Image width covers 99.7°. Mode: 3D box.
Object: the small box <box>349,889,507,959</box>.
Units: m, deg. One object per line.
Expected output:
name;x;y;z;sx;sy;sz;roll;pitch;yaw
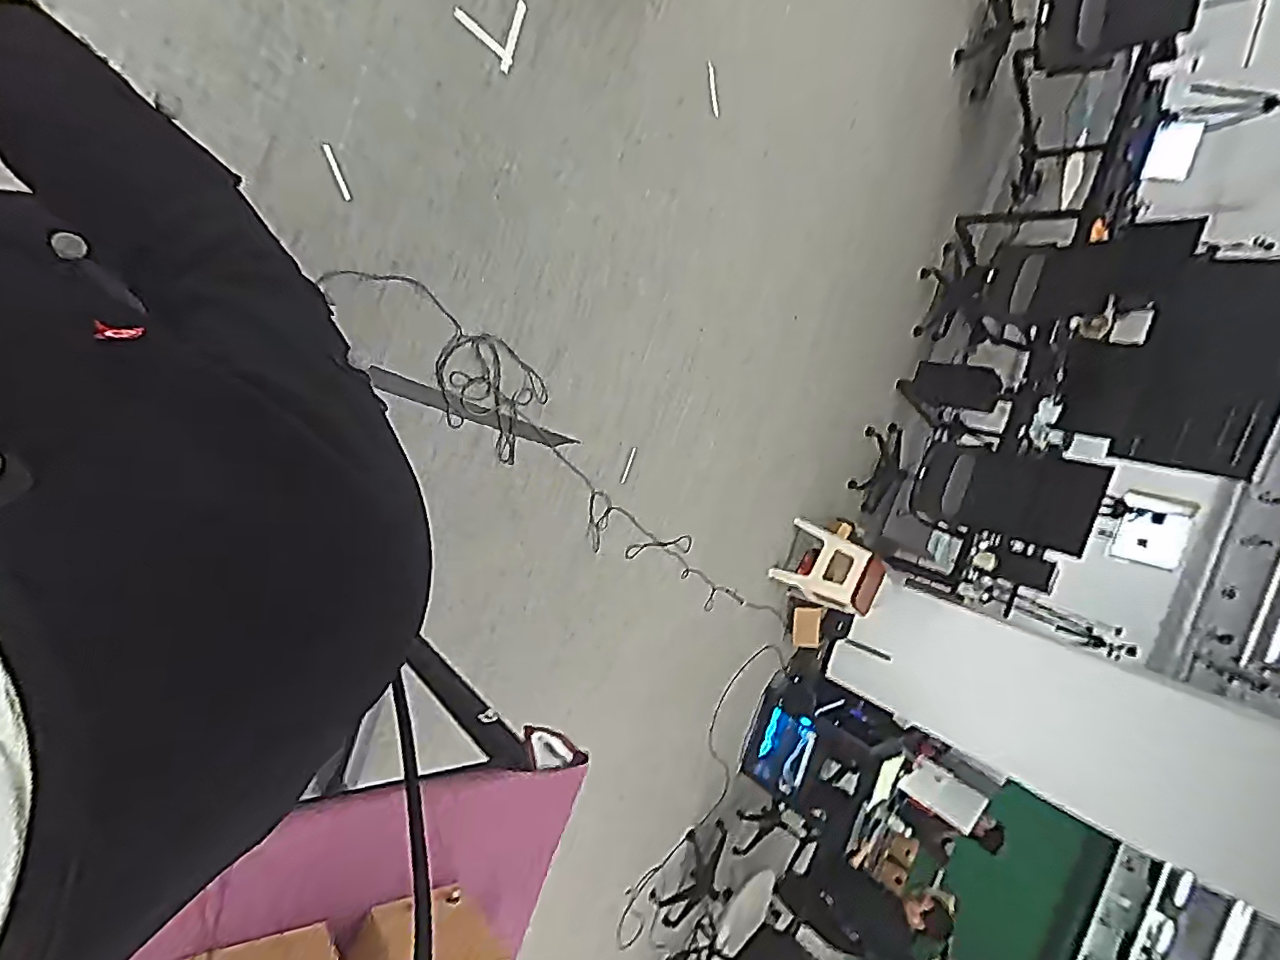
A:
small box;-0.341;0.768;0.821;0.168;0.176;0.179;26;85;-48
